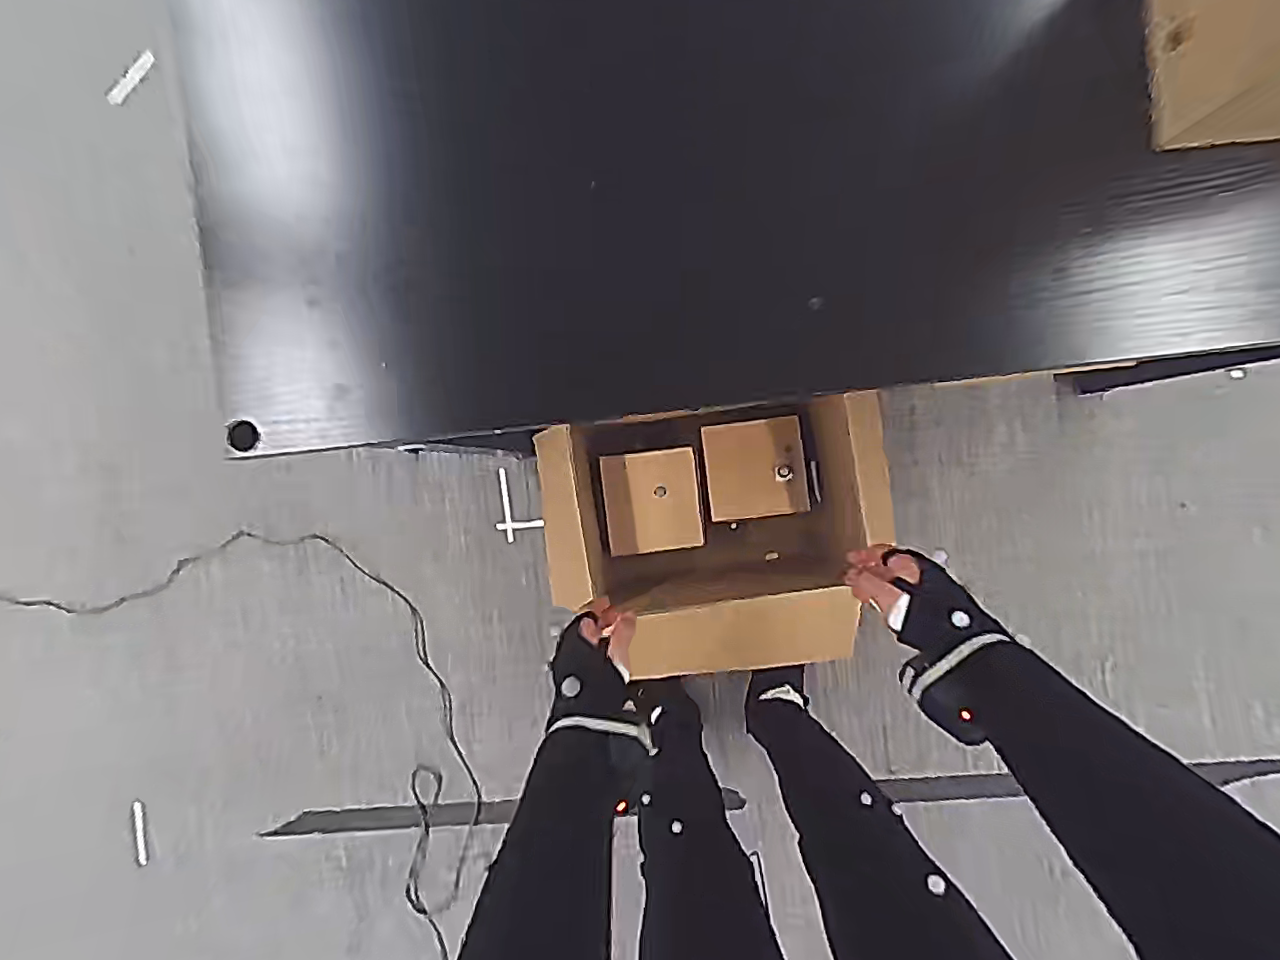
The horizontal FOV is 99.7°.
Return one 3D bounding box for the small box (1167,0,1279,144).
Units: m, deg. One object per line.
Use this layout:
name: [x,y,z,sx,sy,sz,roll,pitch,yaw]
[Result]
small box: [0.421,-0.301,0.273,0.179,0.176,0.168,-4,91,2]
